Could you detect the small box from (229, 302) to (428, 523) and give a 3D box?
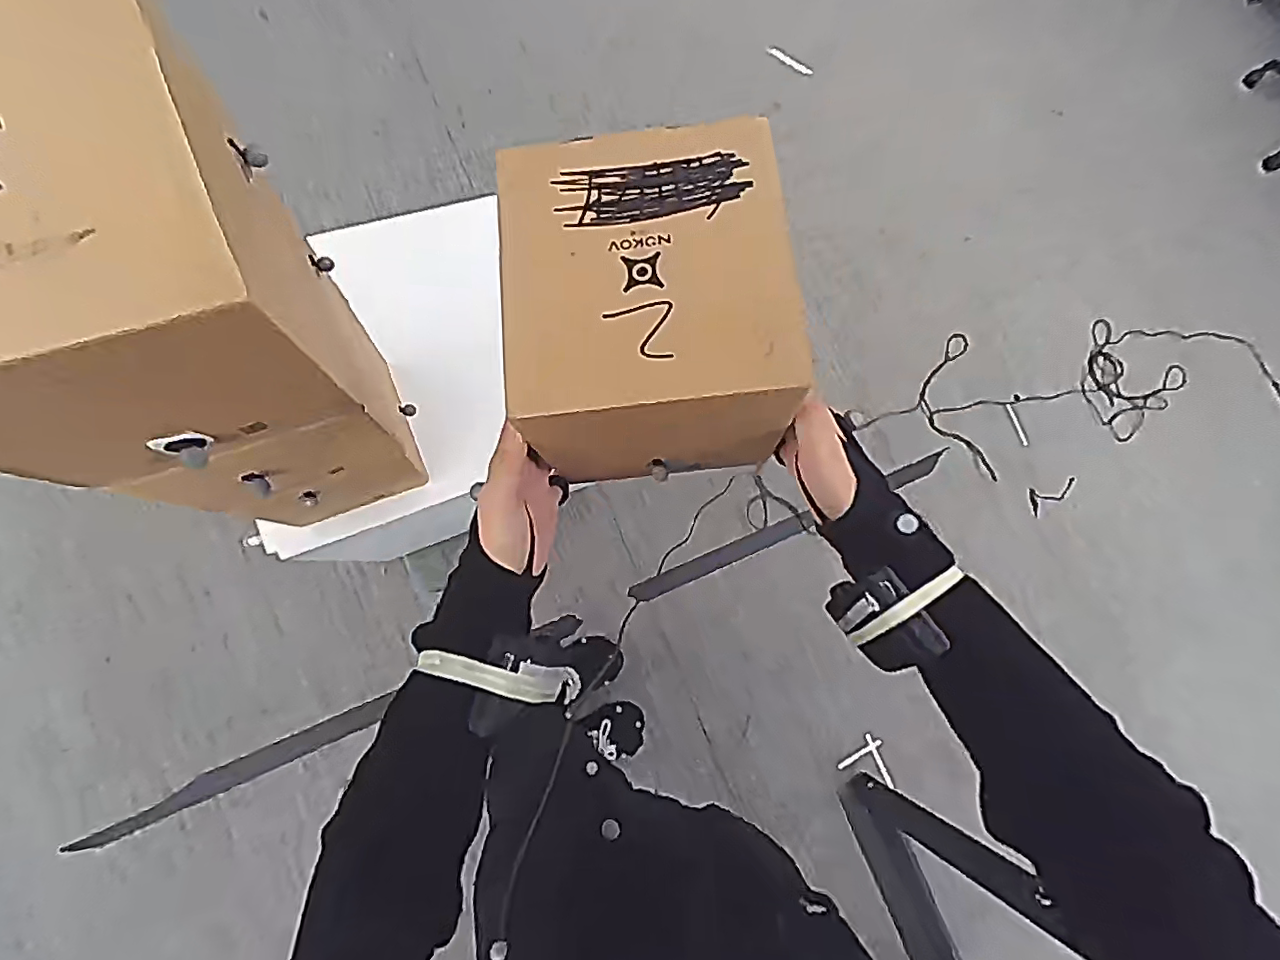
[{"bbox_3d":[-0.356,-0.064,0.605,0.168,0.176,0.179,-21,85,-15],"label":"small box"}]

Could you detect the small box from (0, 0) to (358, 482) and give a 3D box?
[{"bbox_3d":[-0.284,-0.115,0.292,0.168,0.176,0.179,-23,87,-14],"label":"small box"}]

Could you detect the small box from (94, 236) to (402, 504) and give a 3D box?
[{"bbox_3d":[-0.320,-0.087,0.448,0.168,0.176,0.179,-22,86,-15],"label":"small box"}]
